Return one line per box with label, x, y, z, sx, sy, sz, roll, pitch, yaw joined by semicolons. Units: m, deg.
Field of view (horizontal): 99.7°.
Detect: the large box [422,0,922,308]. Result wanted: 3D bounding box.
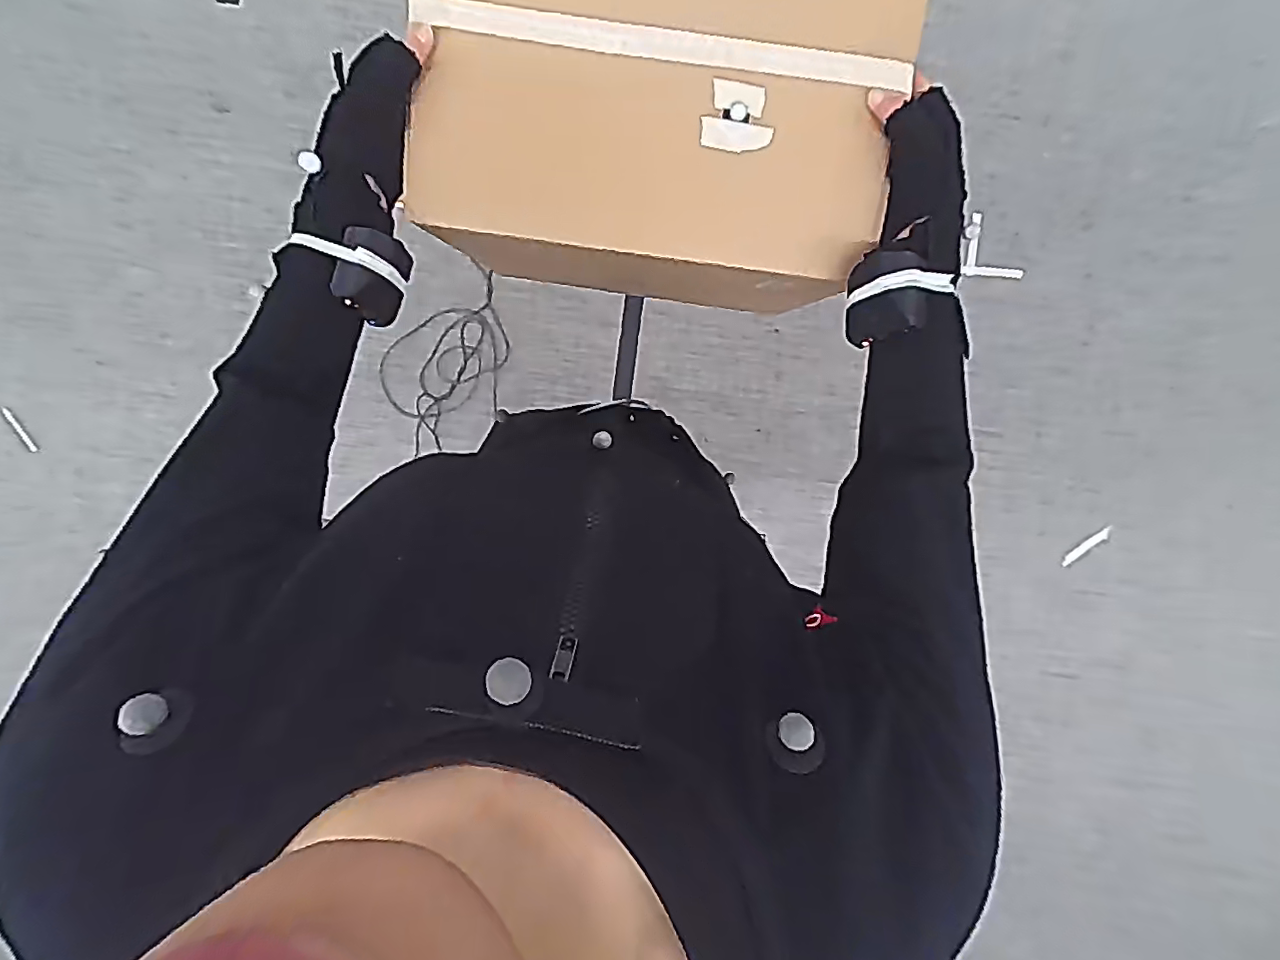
large box;0.020;-0.382;0.590;0.408;0.320;0.320;7;104;-2
